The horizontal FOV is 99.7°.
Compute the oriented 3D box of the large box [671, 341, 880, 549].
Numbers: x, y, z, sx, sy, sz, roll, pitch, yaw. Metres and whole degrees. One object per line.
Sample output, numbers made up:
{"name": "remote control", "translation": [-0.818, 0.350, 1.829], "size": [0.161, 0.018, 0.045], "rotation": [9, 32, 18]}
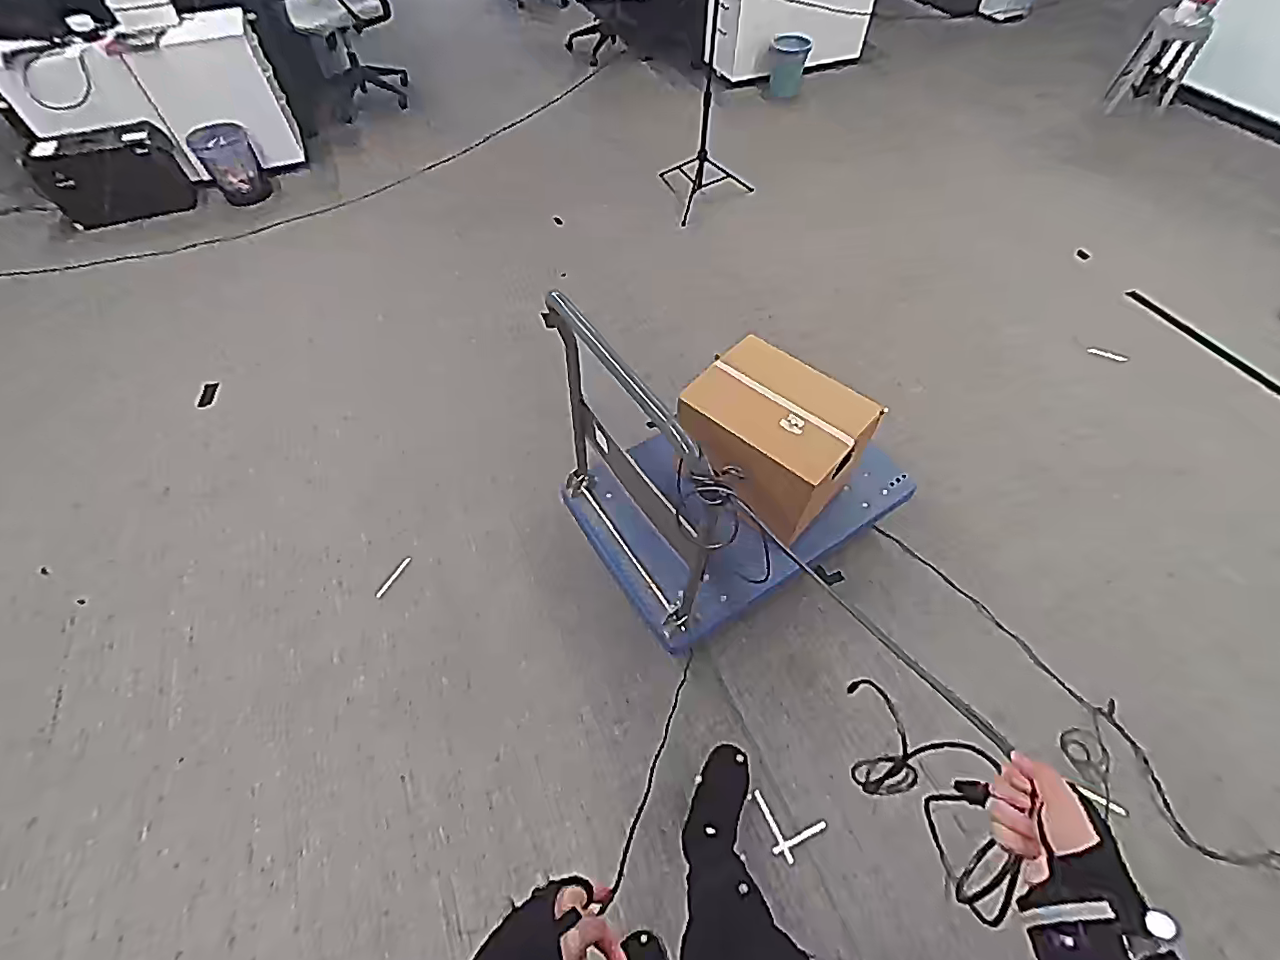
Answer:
{"name": "large box", "translation": [0.336, -0.094, 1.444], "size": [0.408, 0.320, 0.320], "rotation": [37, 64, 22]}
